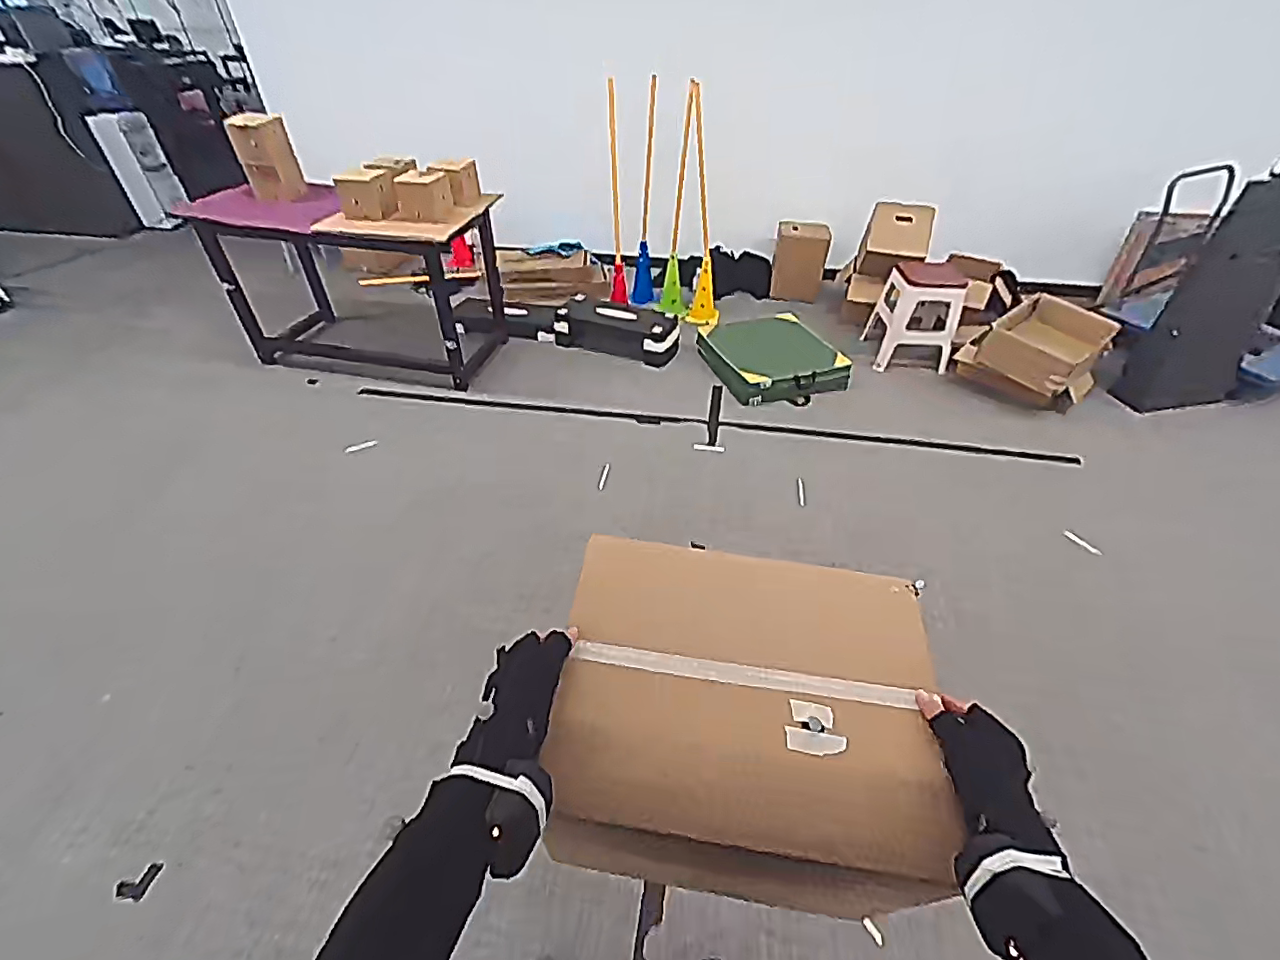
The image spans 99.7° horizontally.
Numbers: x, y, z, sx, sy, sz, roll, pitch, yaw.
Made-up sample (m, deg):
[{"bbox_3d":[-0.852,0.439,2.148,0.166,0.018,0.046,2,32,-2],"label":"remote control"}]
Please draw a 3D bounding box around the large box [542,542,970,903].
[{"bbox_3d":[0.113,0.314,0.703,0.408,0.320,0.320,7,48,4],"label":"large box"}]
